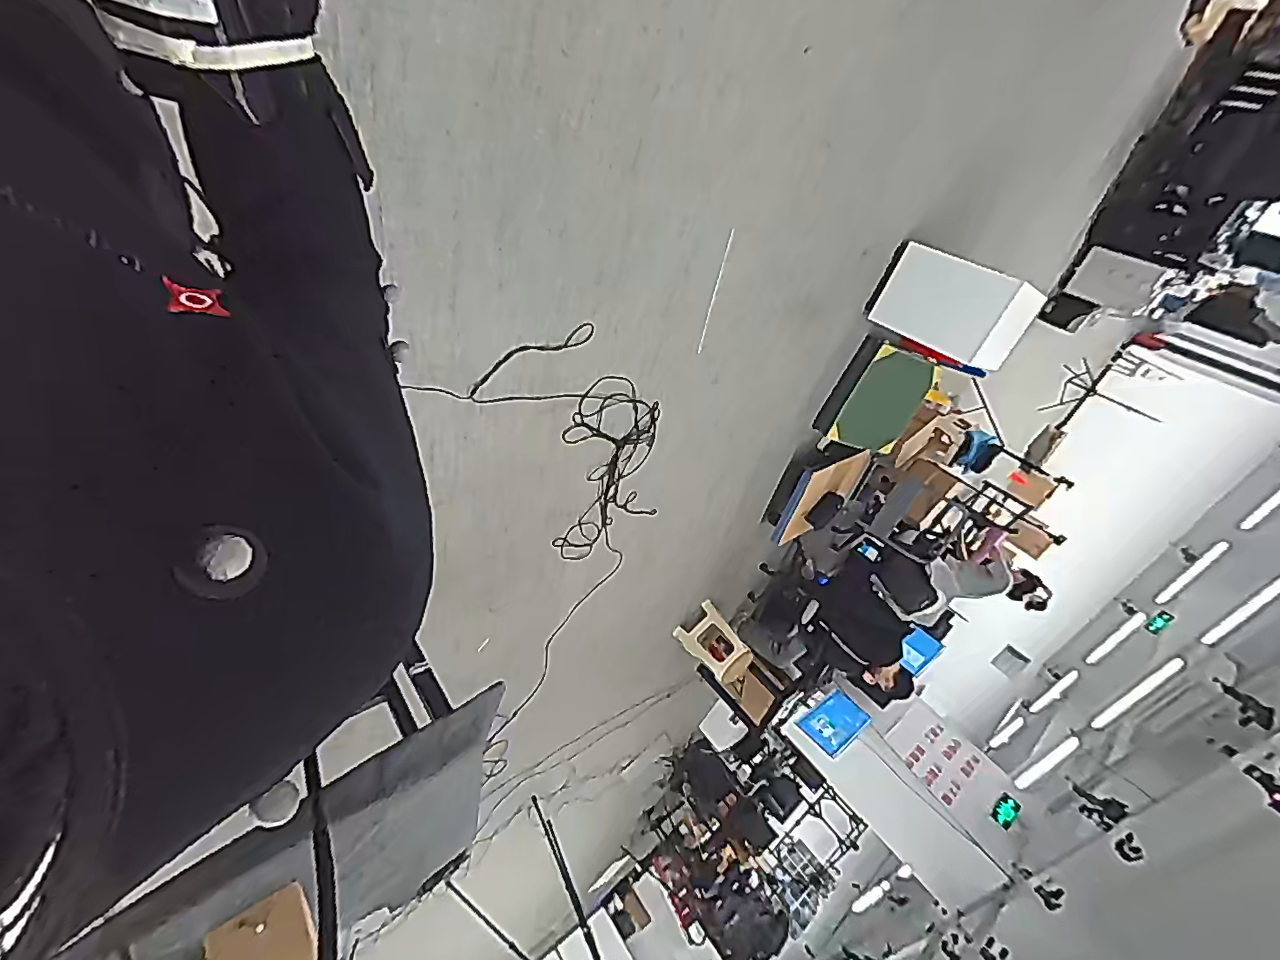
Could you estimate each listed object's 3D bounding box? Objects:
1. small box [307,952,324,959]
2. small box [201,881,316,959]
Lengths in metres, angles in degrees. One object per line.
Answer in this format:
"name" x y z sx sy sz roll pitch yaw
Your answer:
"small box" -0.685 1.085 1.050 0.179 0.176 0.168 -20 139 -37
"small box" -0.791 0.995 1.135 0.168 0.176 0.179 -18 137 -38
